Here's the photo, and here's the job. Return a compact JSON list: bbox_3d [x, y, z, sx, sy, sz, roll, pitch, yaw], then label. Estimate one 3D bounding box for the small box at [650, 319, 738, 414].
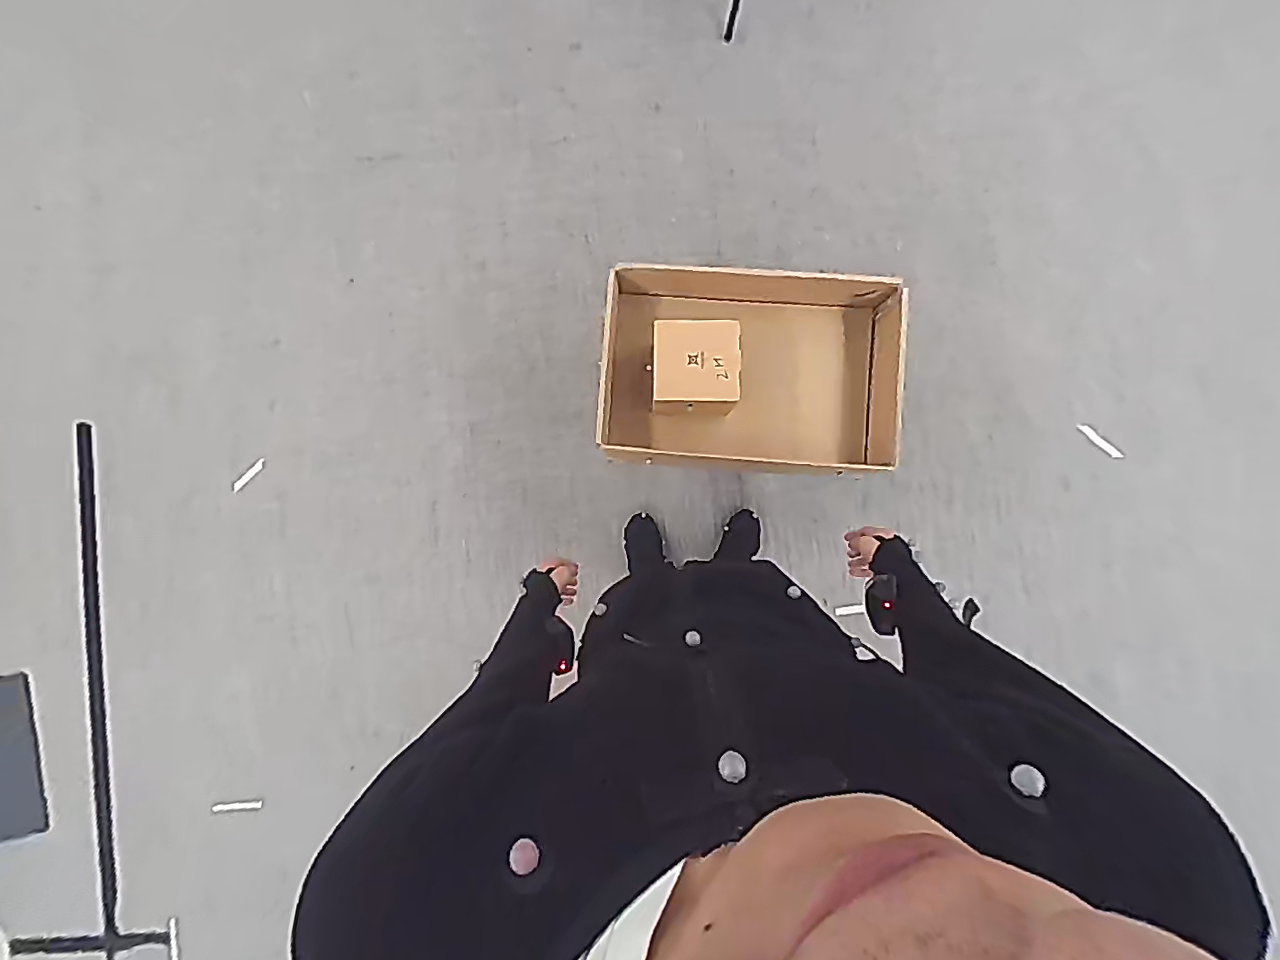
[{"bbox_3d":[0.110,-0.237,1.162,0.179,0.176,0.168,1,88,0],"label":"small box"}]
